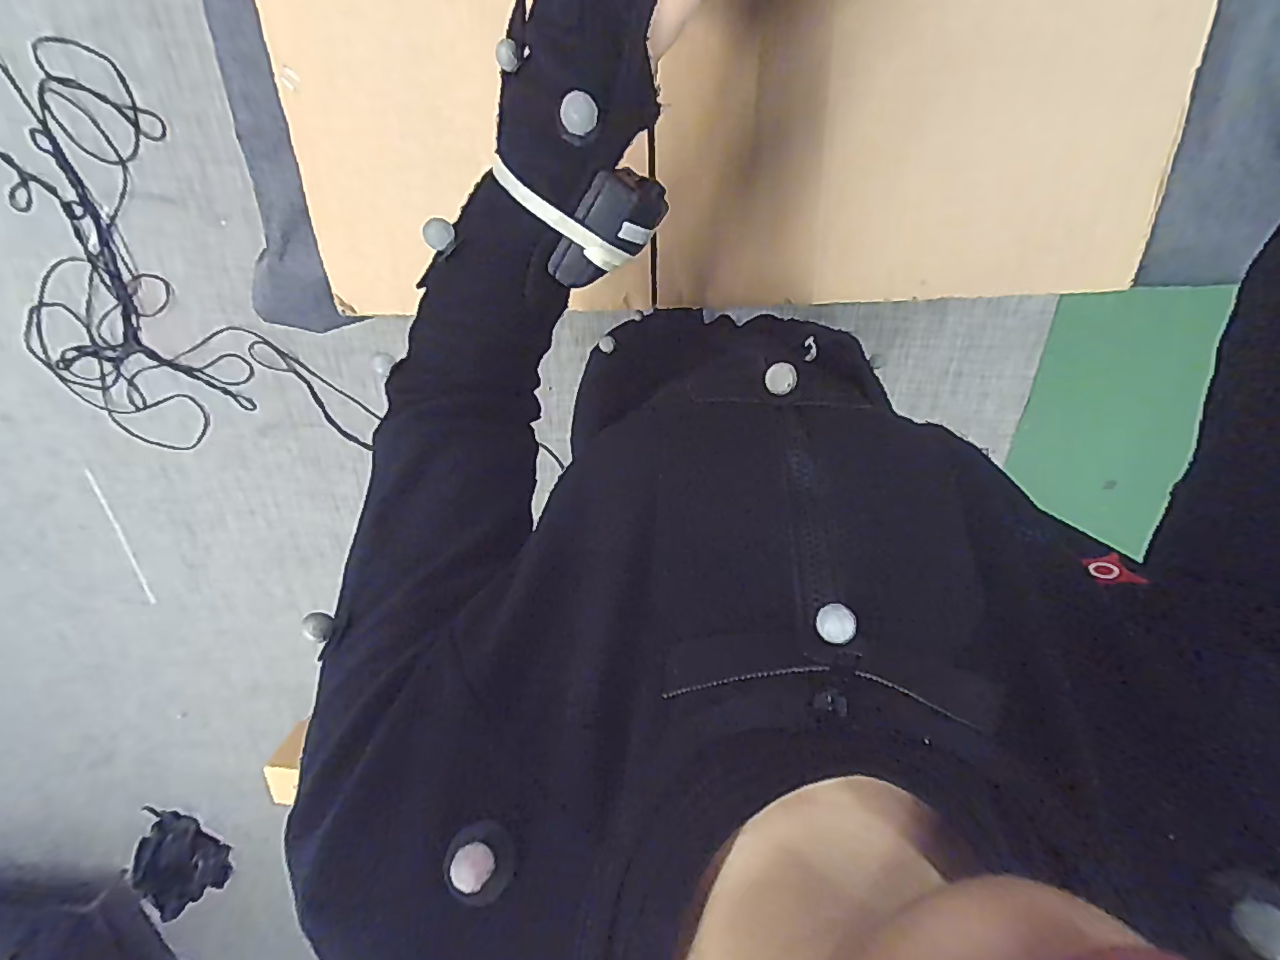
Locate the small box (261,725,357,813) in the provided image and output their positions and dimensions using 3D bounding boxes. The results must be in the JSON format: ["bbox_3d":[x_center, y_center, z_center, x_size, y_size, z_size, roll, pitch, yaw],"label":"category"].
[{"bbox_3d":[-1.003,0.876,1.650,0.179,0.176,0.168,5,114,1],"label":"small box"}]
